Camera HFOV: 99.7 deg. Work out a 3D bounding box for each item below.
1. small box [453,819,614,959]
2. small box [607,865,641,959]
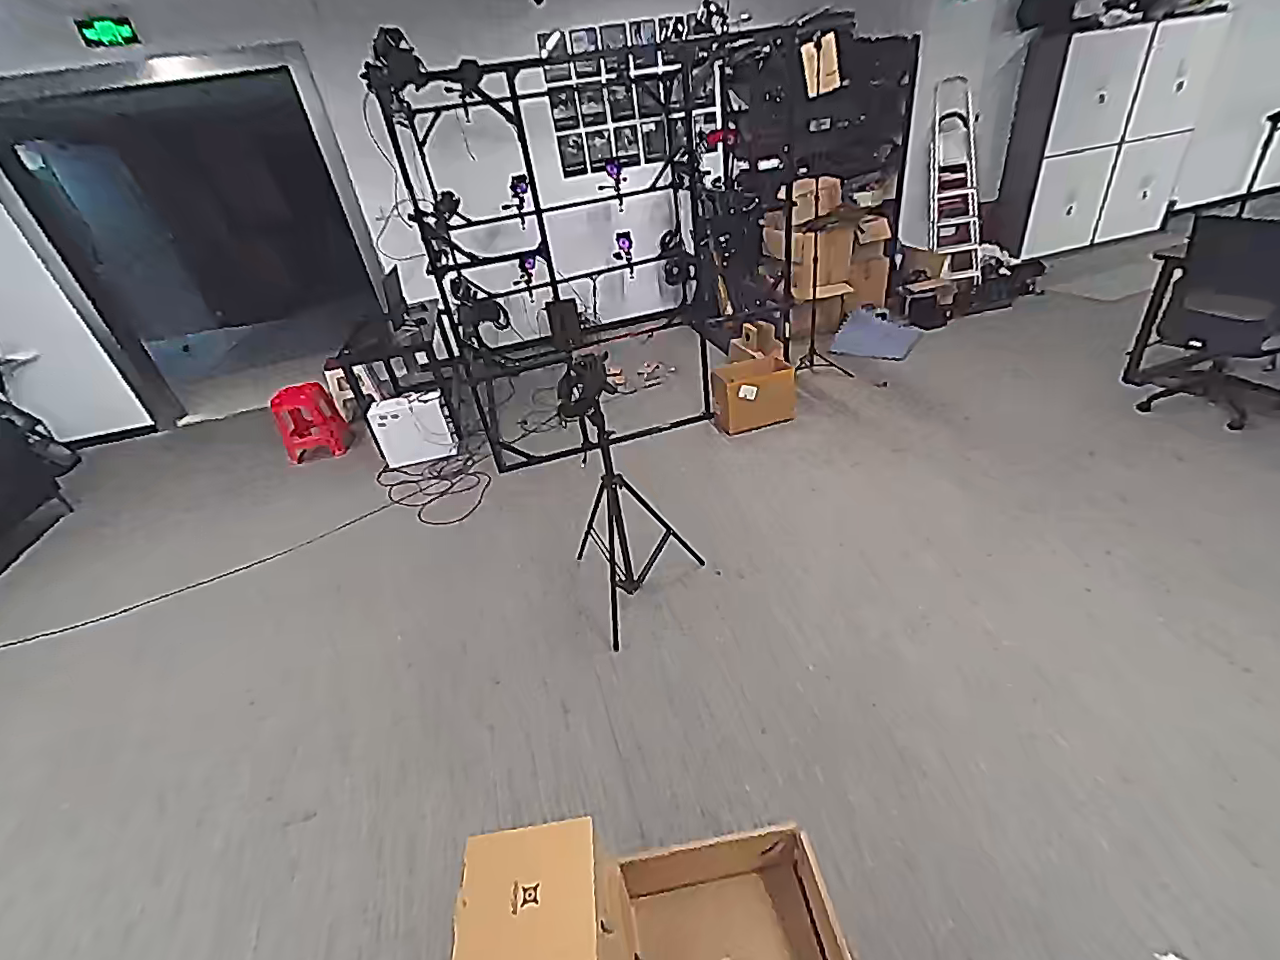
[{"bbox_3d":[-0.129,0.589,0.716,0.179,0.176,0.168,-10,32,-2],"label":"small box"},{"bbox_3d":[-0.086,0.722,0.802,0.168,0.176,0.179,-11,31,-5],"label":"small box"}]
